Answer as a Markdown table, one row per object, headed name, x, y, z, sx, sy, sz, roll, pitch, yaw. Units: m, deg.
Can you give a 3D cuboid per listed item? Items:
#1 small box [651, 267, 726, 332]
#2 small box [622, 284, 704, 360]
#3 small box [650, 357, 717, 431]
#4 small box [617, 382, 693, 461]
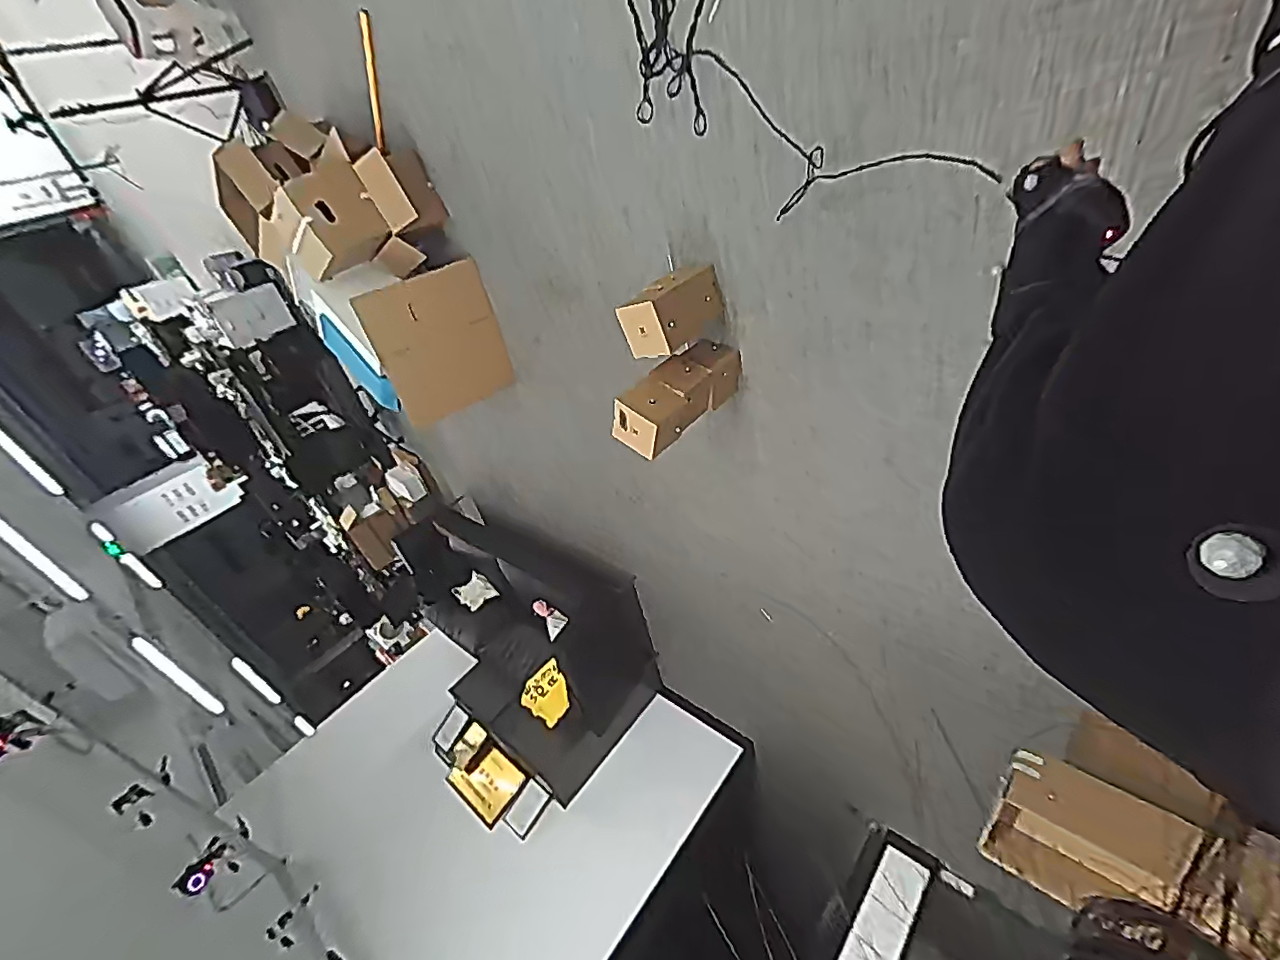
| name | x | y | z | sx | sy | sz | roll | pitch | yaw |
| --- | --- | --- | --- | --- | --- | --- | --- | --- | --- |
| small box | 0.172 | -0.603 | 1.823 | 0.179 | 0.176 | 0.168 | 12 | 133 | 44 |
| small box | 0.079 | -0.504 | 1.732 | 0.168 | 0.176 | 0.179 | 7 | 129 | 46 |
| small box | 0.148 | -0.294 | 1.872 | 0.168 | 0.176 | 0.179 | 33 | 143 | 26 |
| small box | 0.049 | -0.200 | 1.781 | 0.179 | 0.176 | 0.168 | 35 | 145 | 21 |
